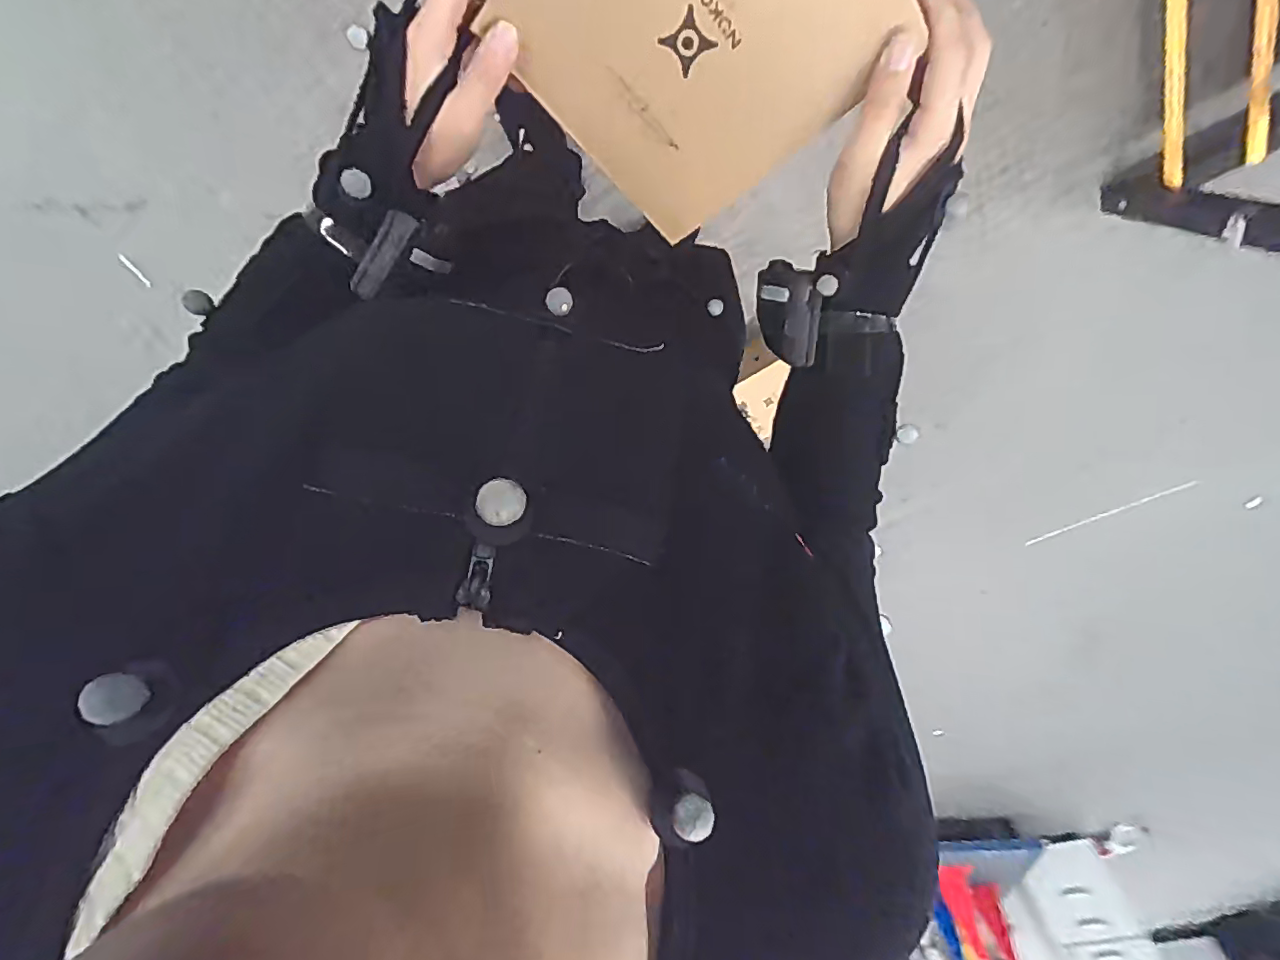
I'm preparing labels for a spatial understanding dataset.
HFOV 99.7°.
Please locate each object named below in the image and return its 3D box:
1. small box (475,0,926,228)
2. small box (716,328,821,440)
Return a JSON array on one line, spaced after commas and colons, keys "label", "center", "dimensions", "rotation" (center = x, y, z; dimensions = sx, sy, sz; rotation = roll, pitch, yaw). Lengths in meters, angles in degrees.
[{"label": "small box", "center": [0.036, -0.304, 0.320], "dimensions": [0.168, 0.176, 0.179], "rotation": [34, 141, -32]}, {"label": "small box", "center": [0.303, -0.236, 1.301], "dimensions": [0.179, 0.176, 0.168], "rotation": [-30, 121, 18]}]
